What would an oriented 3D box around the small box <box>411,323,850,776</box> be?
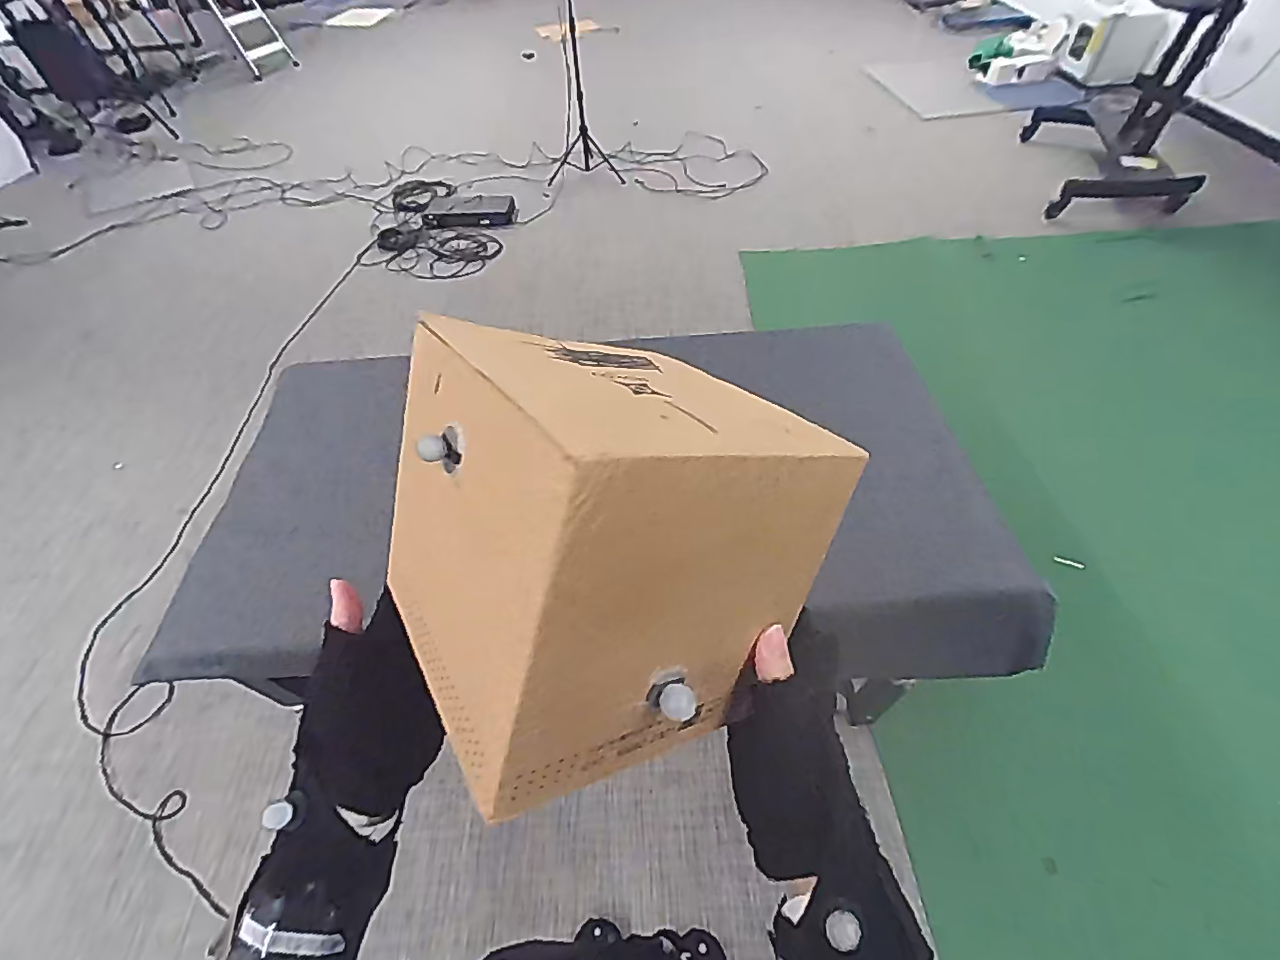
[{"bbox_3d":[-0.023,0.024,0.316,0.168,0.176,0.179,-2,28,-38],"label":"small box"}]
